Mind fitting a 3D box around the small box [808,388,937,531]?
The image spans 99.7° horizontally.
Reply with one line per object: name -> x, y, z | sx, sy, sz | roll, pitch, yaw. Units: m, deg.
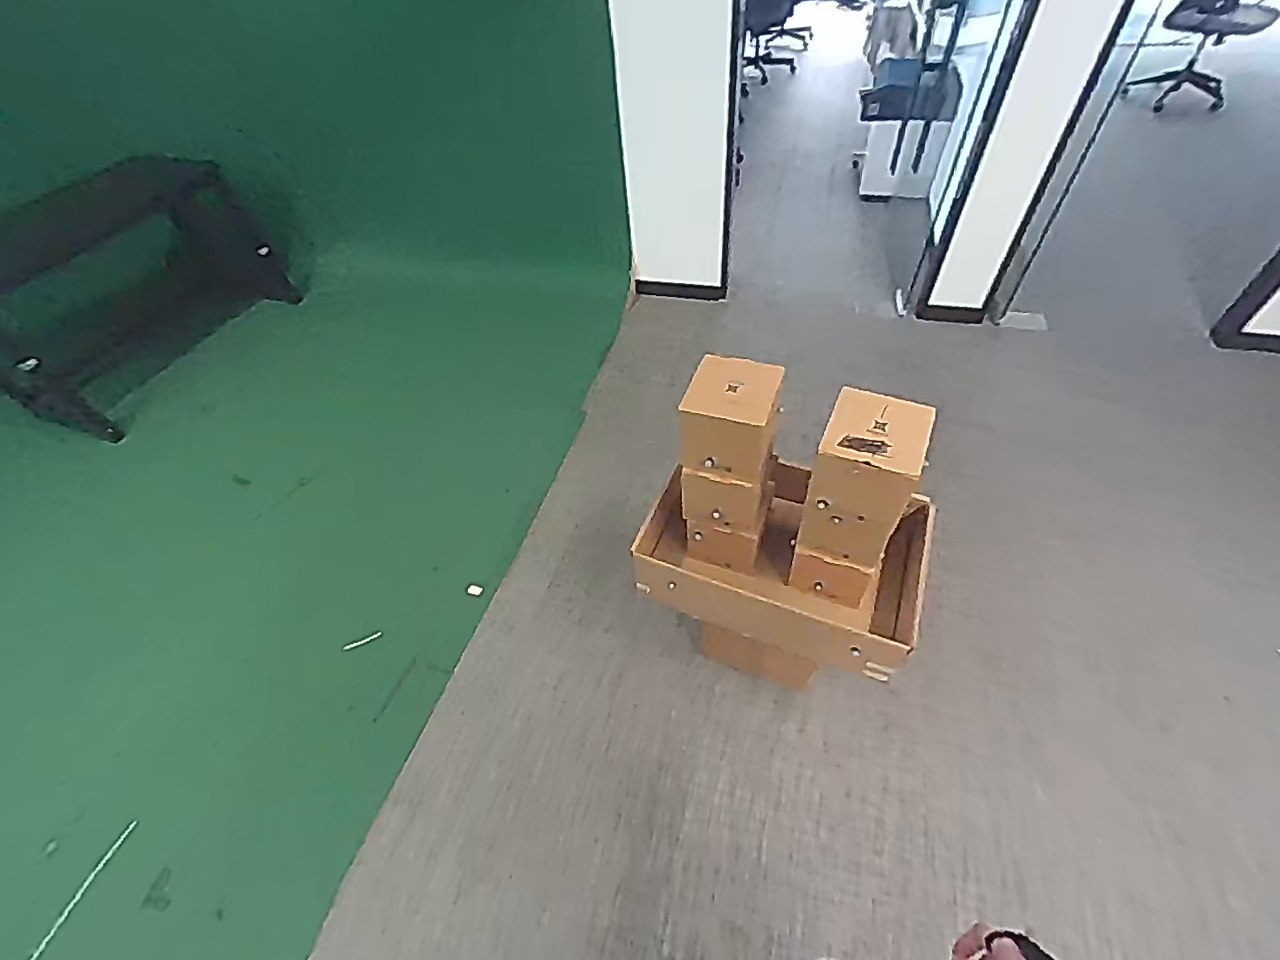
small box -> 0.418, -0.034, 0.994 | 0.168, 0.176, 0.179 | 20, 57, 19

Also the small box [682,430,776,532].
small box -> 0.195, -0.013, 1.204 | 0.168, 0.176, 0.179 | 14, 54, 15

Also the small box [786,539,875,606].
small box -> 0.448, 0.162, 1.257 | 0.168, 0.176, 0.179 | 16, 56, 17

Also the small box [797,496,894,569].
small box -> 0.439, 0.054, 1.134 | 0.168, 0.176, 0.179 | 17, 55, 19

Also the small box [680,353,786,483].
small box -> 0.183, -0.124, 1.083 | 0.168, 0.176, 0.179 | 15, 54, 17
